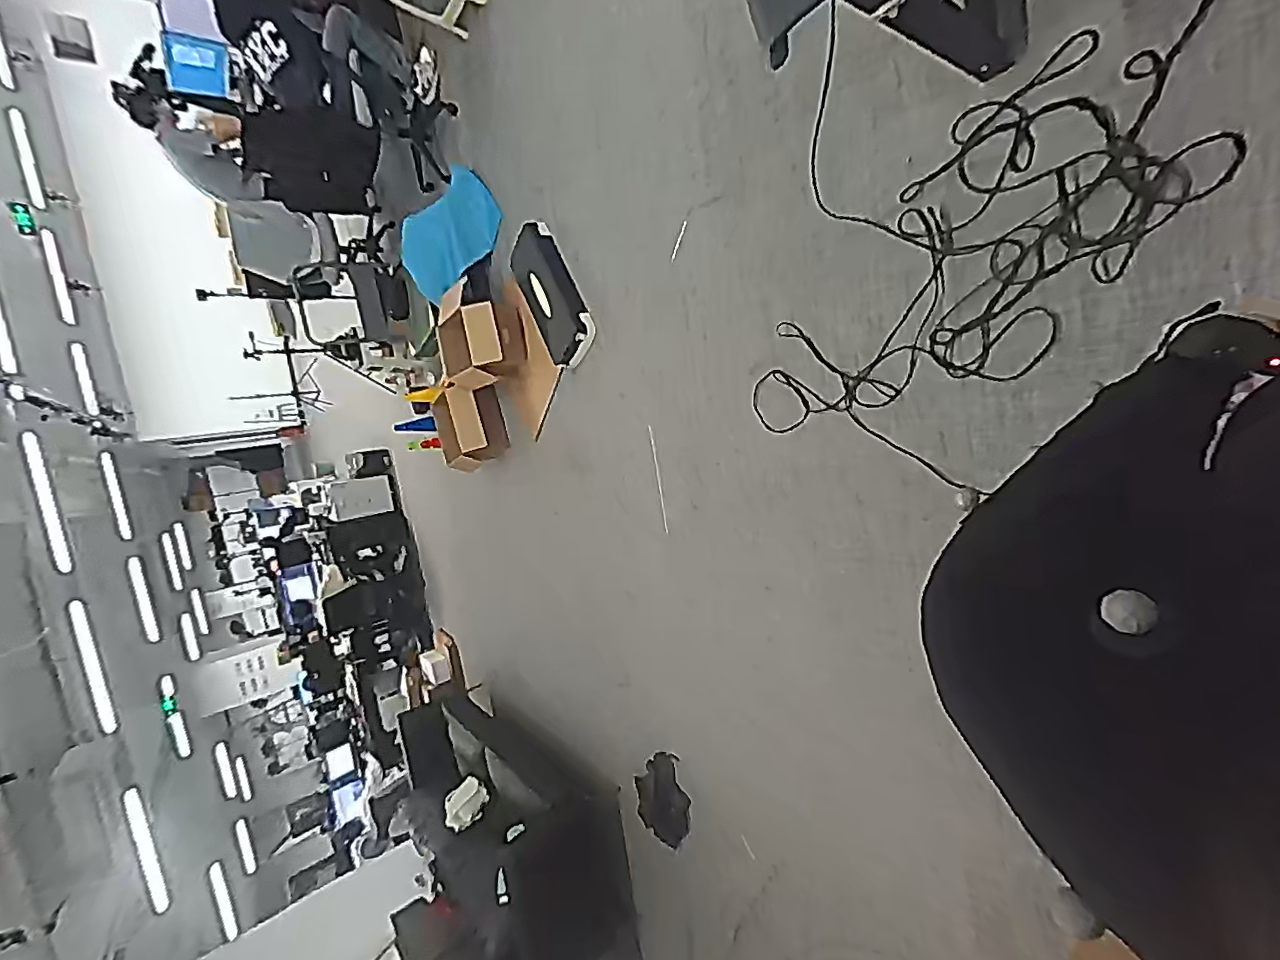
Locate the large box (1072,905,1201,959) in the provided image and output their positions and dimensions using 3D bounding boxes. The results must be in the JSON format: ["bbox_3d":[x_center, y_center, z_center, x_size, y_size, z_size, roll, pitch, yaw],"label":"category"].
[{"bbox_3d":[1.084,1.174,1.044,0.408,0.320,0.320,11,109,52],"label":"large box"}]
